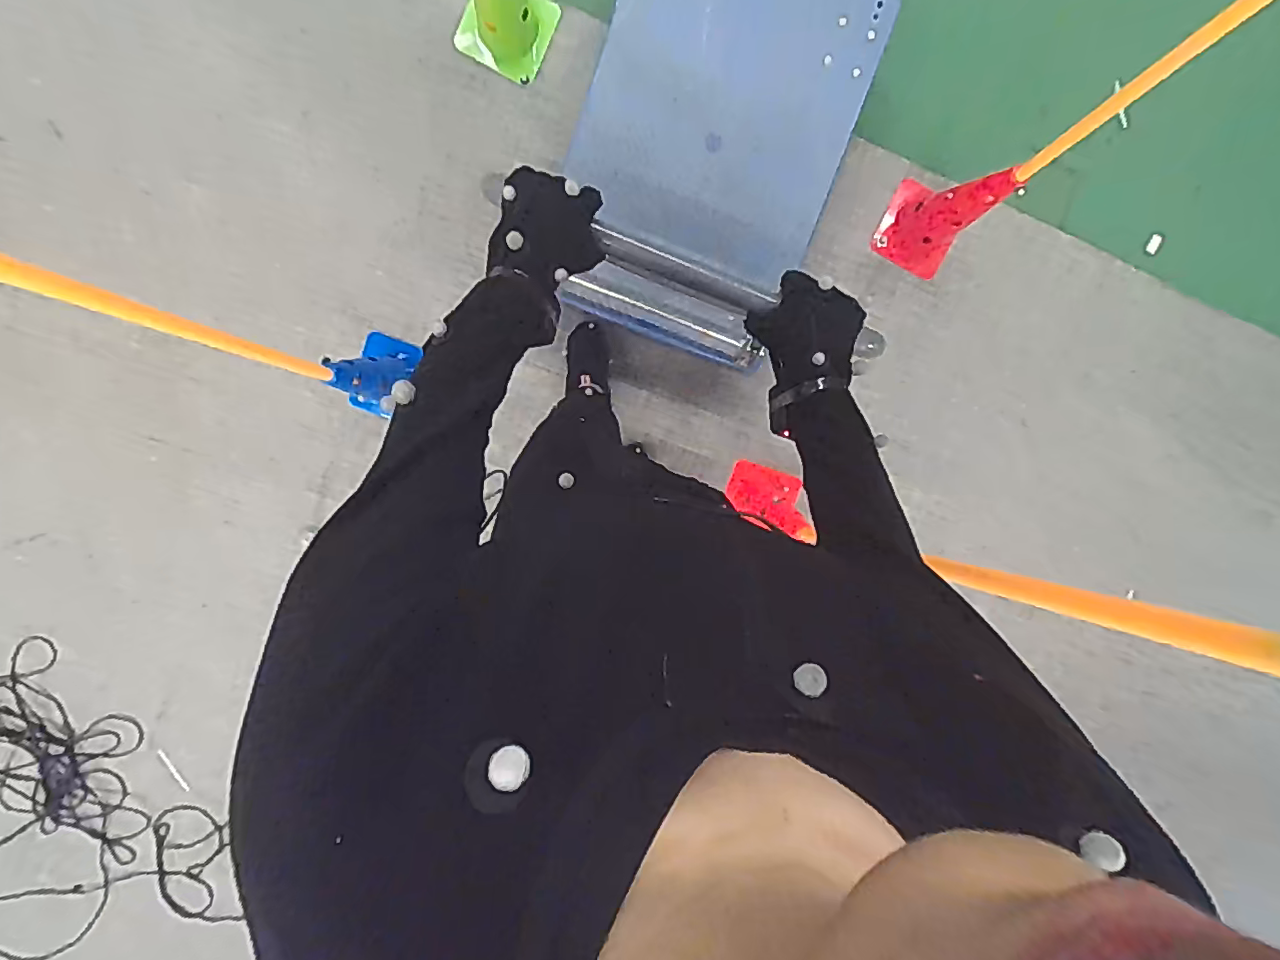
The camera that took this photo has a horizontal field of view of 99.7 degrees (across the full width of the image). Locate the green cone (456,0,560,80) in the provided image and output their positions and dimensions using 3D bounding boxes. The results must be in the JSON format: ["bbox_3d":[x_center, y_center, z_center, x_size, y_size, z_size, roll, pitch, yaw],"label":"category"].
[{"bbox_3d":[-0.302,-1.064,1.113,0.202,0.368,0.200,25,95,-7],"label":"green cone"}]

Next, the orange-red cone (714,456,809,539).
[{"bbox_3d":[0.333,0.071,1.335,0.199,0.360,0.198,20,96,-5],"label":"orange-red cone"}]
